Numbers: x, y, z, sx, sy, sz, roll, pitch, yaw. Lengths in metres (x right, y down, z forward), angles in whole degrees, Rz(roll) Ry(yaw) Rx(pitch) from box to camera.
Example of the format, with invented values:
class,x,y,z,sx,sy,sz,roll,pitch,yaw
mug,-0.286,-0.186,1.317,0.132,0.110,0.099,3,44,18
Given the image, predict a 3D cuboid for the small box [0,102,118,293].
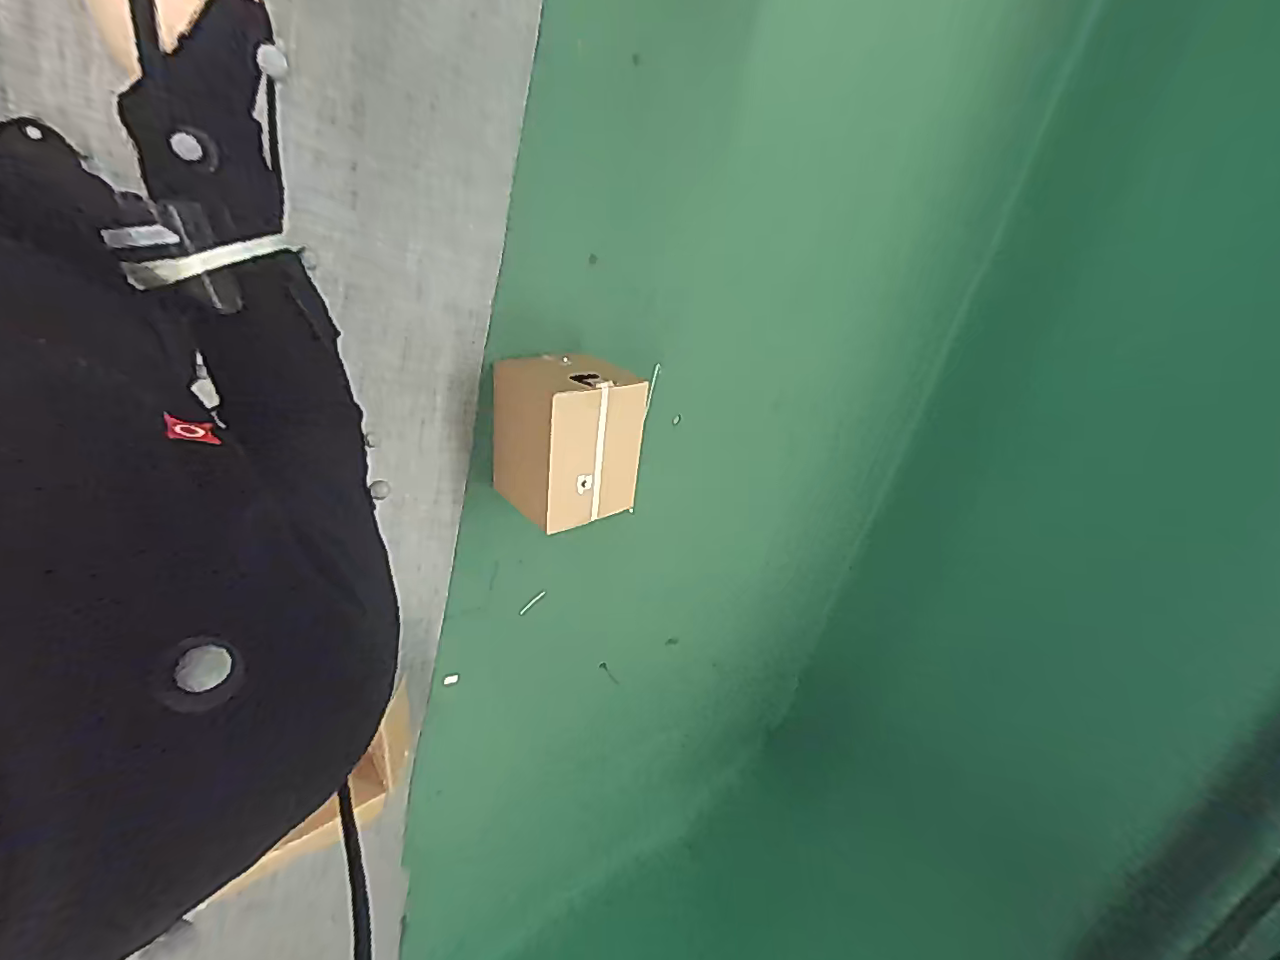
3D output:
class,x,y,z,sx,sy,sz,roll,pitch,yaw
small box,-0.911,-0.388,0.761,0.176,0.168,0.179,-22,146,-7
